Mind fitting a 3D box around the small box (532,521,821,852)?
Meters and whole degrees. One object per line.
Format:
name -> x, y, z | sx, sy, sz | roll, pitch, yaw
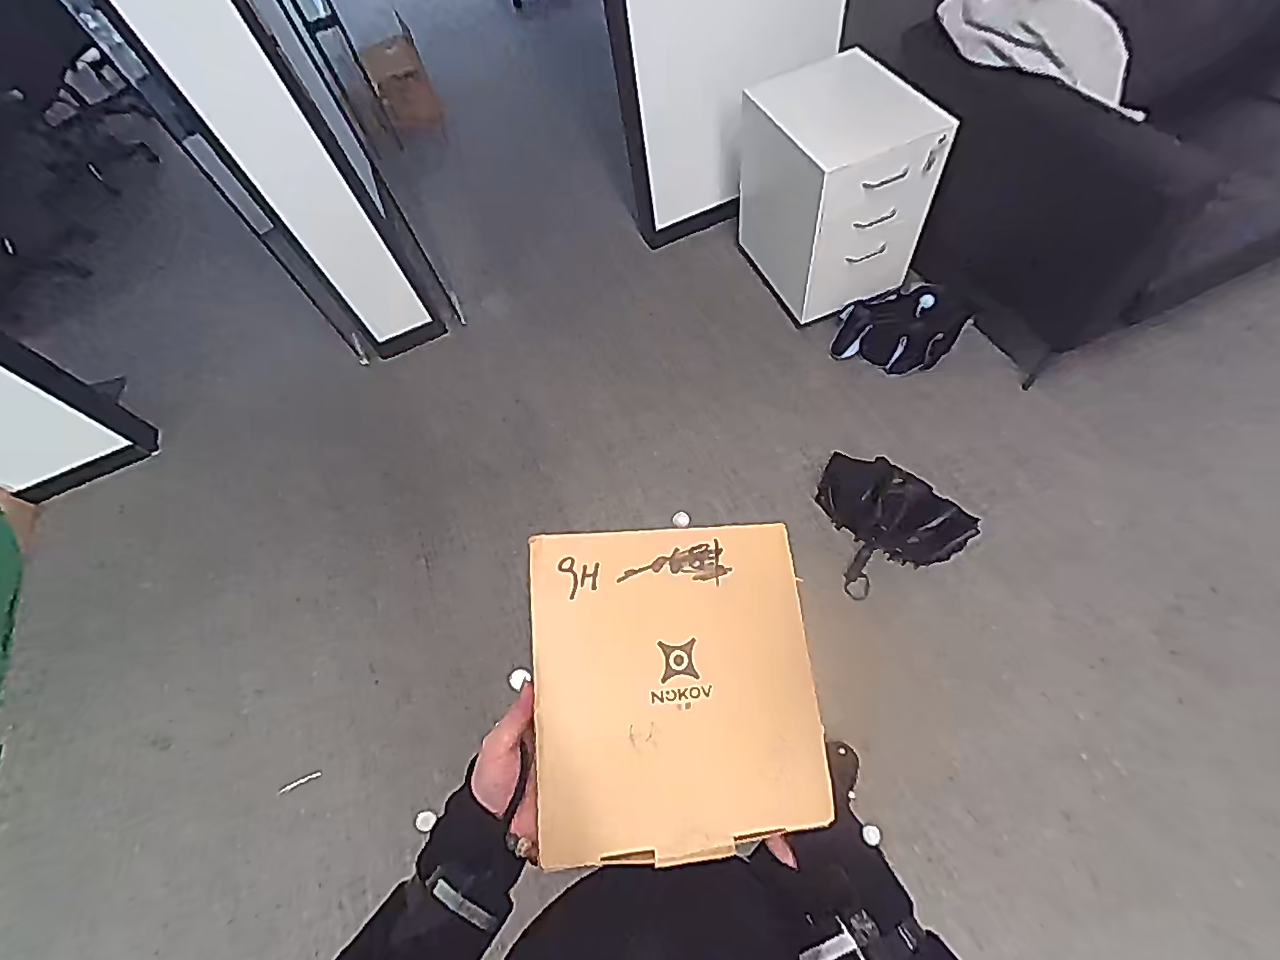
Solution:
small box -> 0.007, 0.130, 0.394 | 0.168, 0.176, 0.179 | -1, 76, -12
